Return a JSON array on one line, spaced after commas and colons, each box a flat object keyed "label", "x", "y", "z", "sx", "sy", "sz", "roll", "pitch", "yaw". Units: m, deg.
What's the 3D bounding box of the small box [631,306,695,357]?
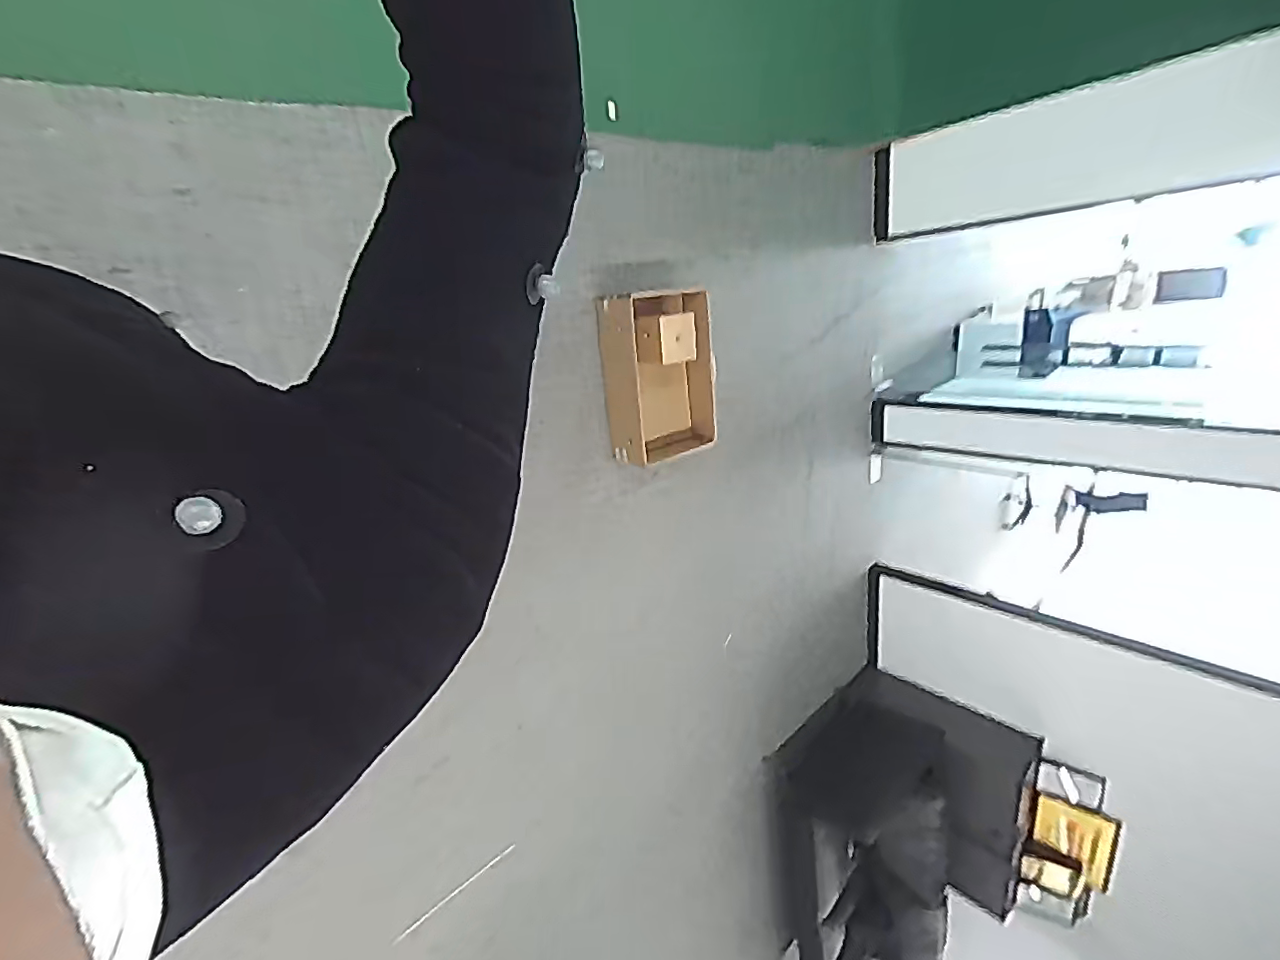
[{"label": "small box", "x": 0.081, "y": -0.546, "z": 1.997, "sx": 0.179, "sy": 0.176, "sz": 0.168, "roll": -21, "pitch": 114, "yaw": -37}]
